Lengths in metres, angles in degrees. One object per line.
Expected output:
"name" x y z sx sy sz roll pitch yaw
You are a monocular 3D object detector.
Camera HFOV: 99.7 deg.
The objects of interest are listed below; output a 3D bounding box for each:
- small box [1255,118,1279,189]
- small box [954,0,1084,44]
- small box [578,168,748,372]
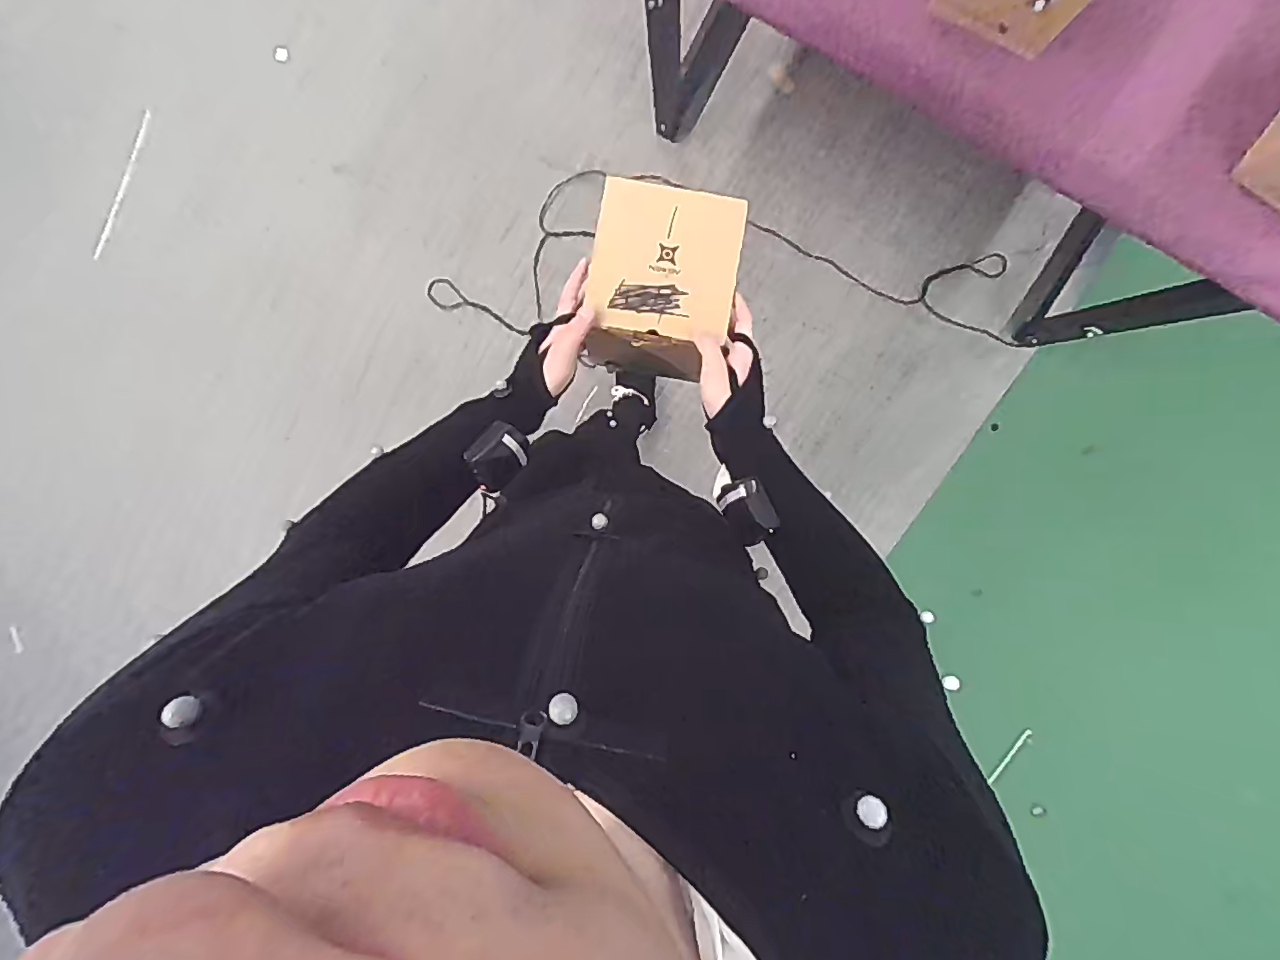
"small box" 0.927 -0.439 0.648 0.168 0.176 0.179 35 98 -1
"small box" 0.504 -0.687 0.649 0.168 0.176 0.179 27 98 0
"small box" 0.027 -0.245 0.676 0.168 0.176 0.179 10 87 0
